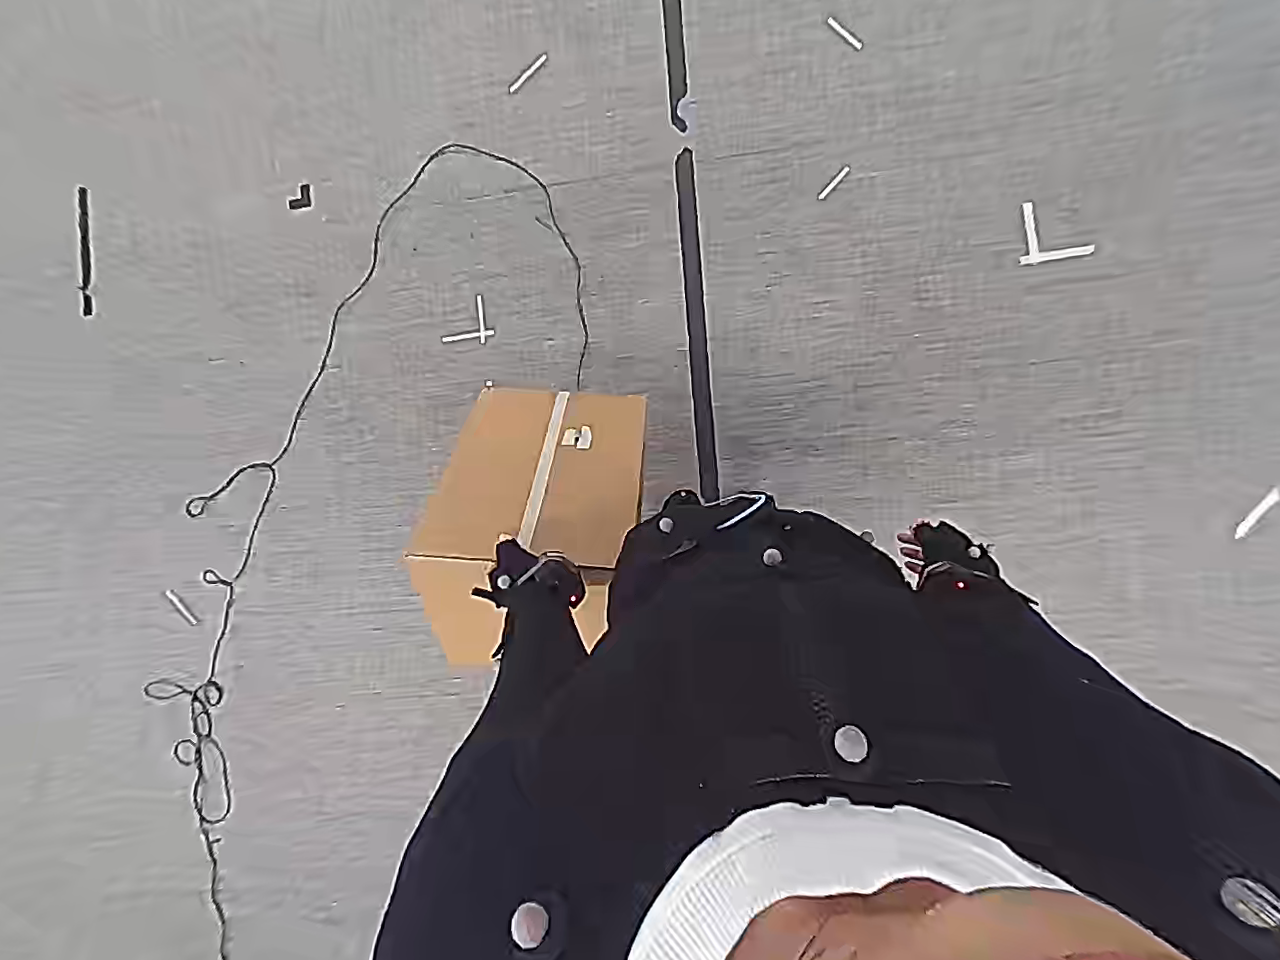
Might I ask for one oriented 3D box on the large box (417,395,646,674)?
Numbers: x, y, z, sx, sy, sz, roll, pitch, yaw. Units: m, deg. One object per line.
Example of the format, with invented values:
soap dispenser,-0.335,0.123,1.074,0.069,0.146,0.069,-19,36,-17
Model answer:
large box,-0.157,0.093,0.986,0.320,0.408,0.320,5,133,0
